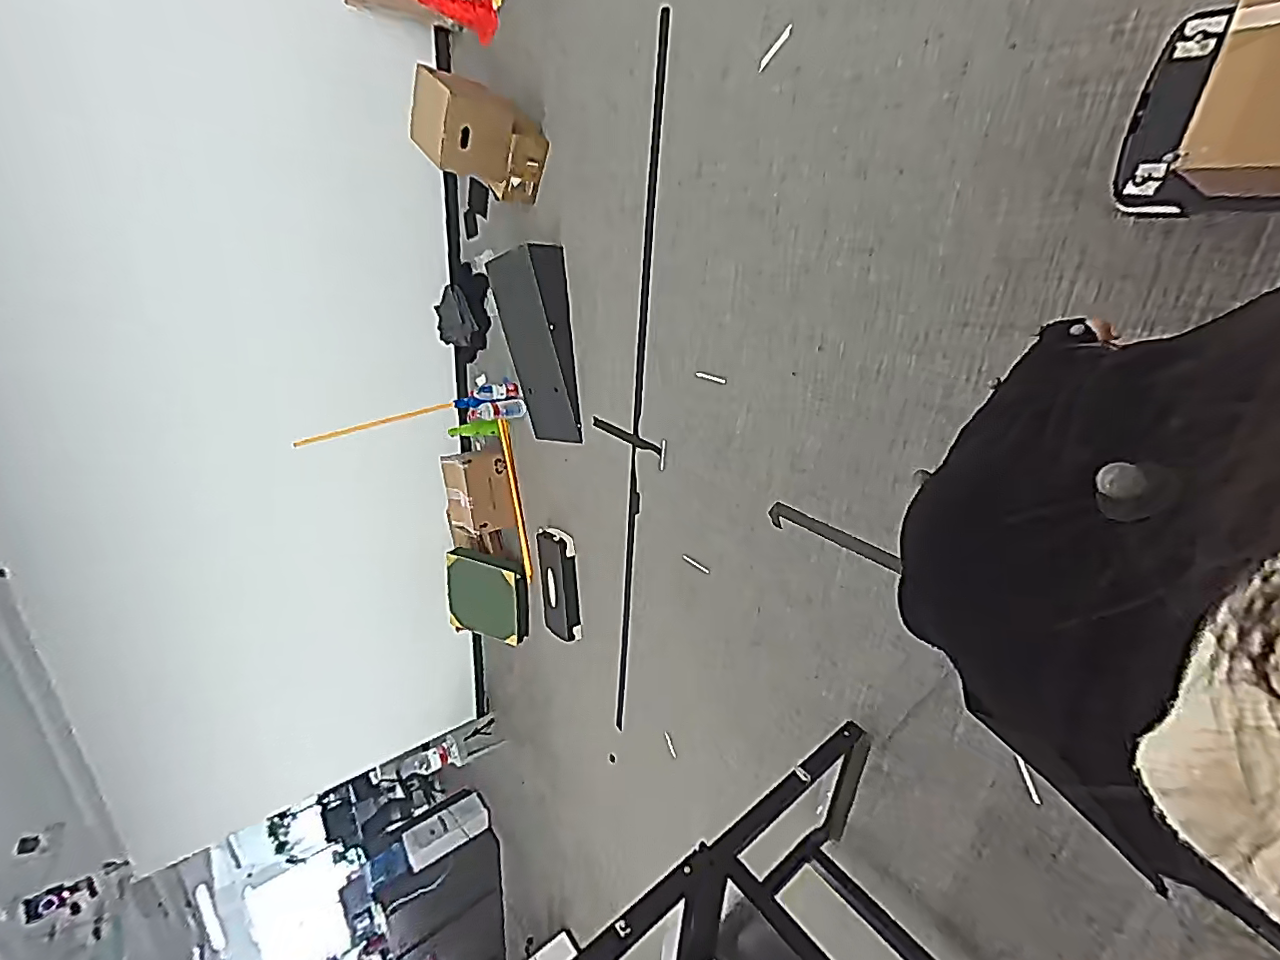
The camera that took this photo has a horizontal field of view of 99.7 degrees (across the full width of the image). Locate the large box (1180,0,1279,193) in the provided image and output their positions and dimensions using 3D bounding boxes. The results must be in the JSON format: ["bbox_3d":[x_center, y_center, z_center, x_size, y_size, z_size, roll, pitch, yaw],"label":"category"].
[{"bbox_3d":[0.950,-0.502,0.588,0.408,0.320,0.320,31,124,45],"label":"large box"}]

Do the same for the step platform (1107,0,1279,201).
[{"bbox_3d":[1.115,-0.534,0.761,0.684,0.204,0.286,36,128,42],"label":"step platform"}]
